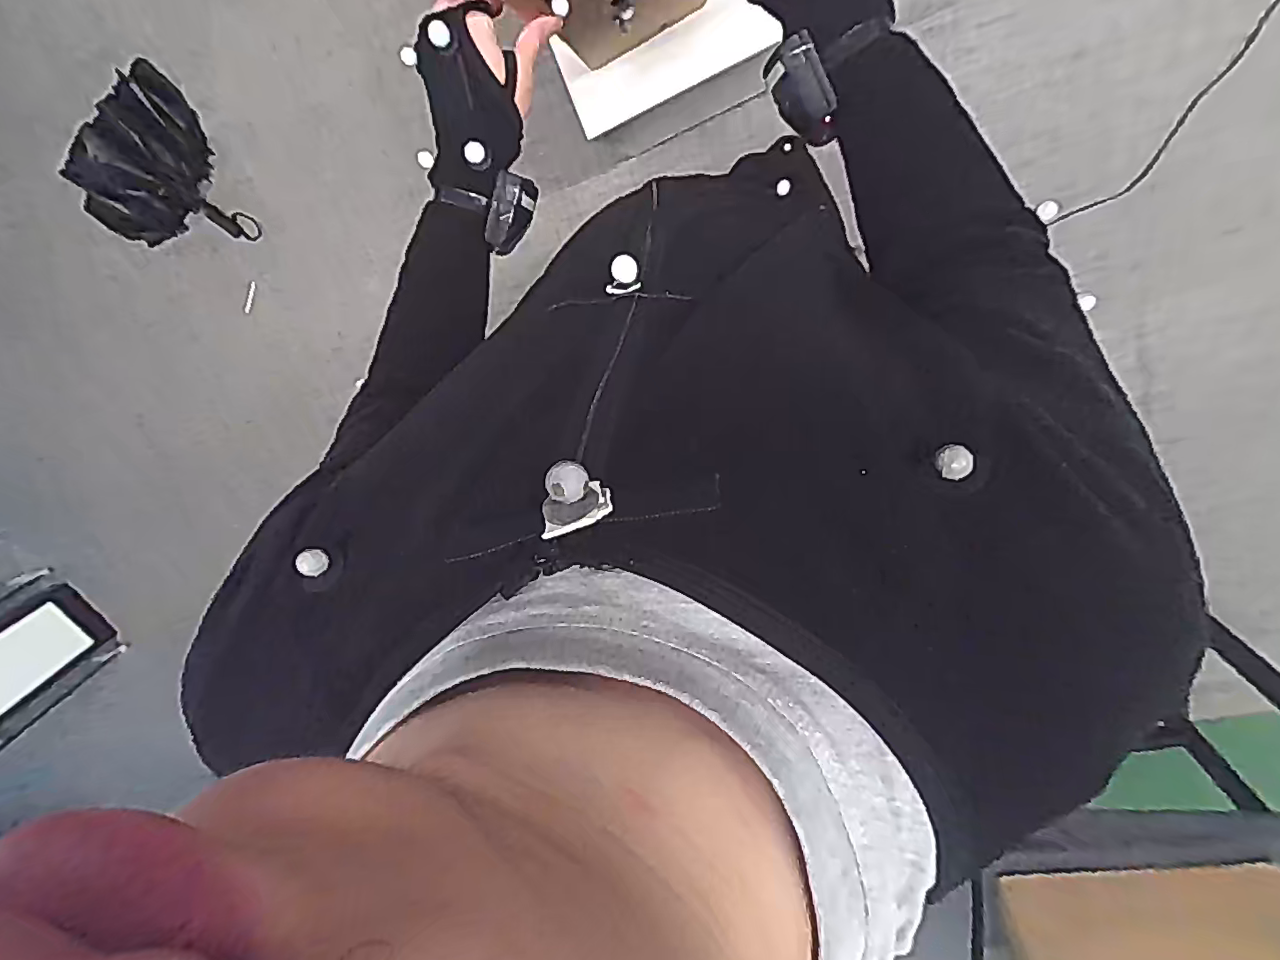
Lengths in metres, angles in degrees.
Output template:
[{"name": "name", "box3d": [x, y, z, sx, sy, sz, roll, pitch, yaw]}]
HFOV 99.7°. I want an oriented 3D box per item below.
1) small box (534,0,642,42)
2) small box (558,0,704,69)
[{"name": "small box", "box3d": [-0.052, -0.519, 0.450, 0.168, 0.176, 0.179, -20, 115, 18]}, {"name": "small box", "box3d": [-0.033, -0.598, 0.593, 0.168, 0.176, 0.179, -19, 115, 16]}]
